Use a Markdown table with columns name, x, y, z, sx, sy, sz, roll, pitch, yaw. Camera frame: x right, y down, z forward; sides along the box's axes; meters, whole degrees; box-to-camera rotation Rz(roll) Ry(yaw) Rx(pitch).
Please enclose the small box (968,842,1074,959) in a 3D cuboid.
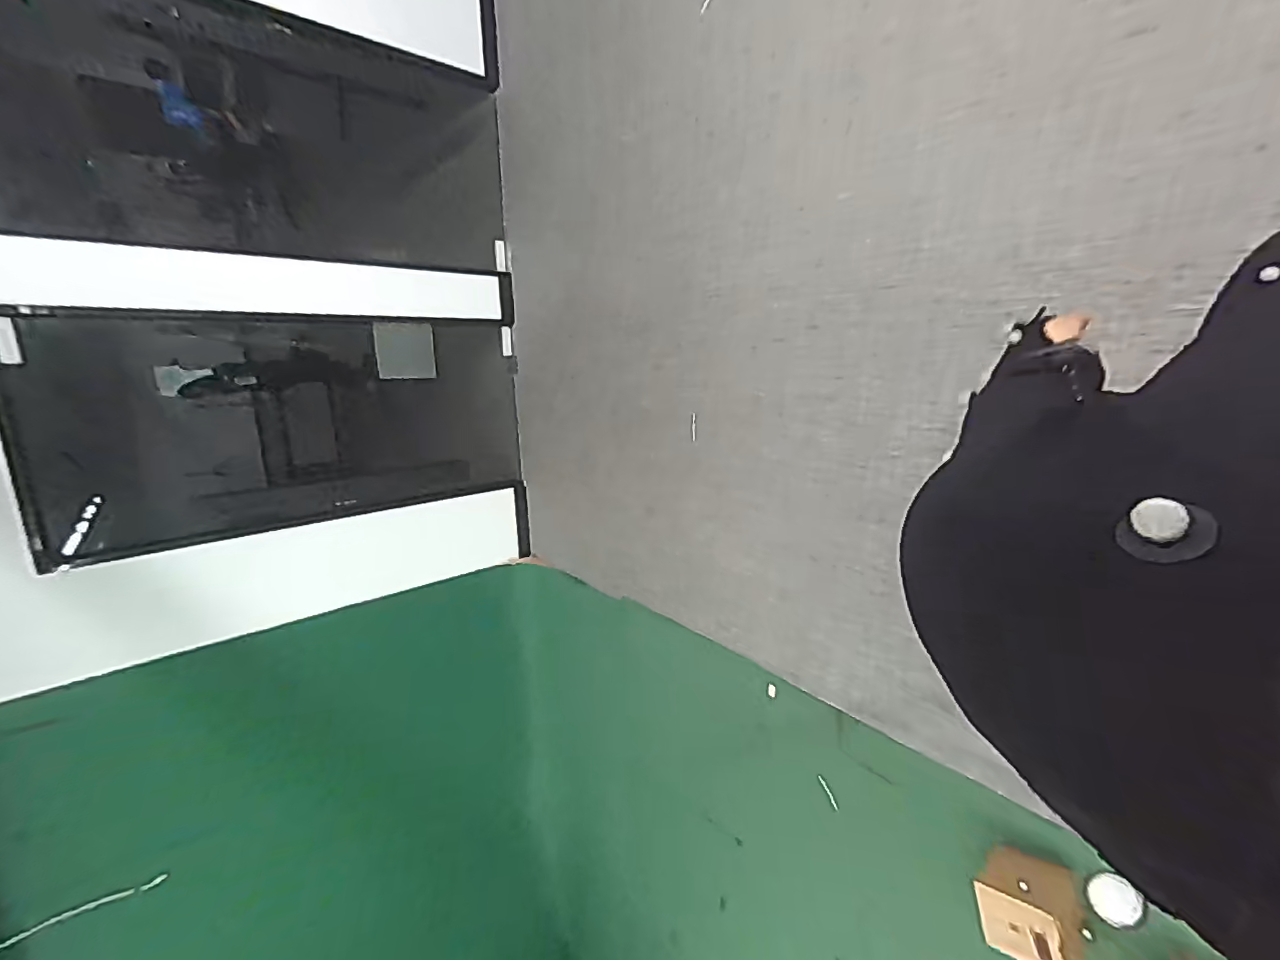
| name | x | y | z | sx | sy | sz | roll | pitch | yaw |
| --- | --- | --- | --- | --- | --- | --- | --- | --- | --- |
| small box | 0.969 | 1.066 | 1.368 | 0.179 | 0.176 | 0.168 | -10 | 91 | 52 |
